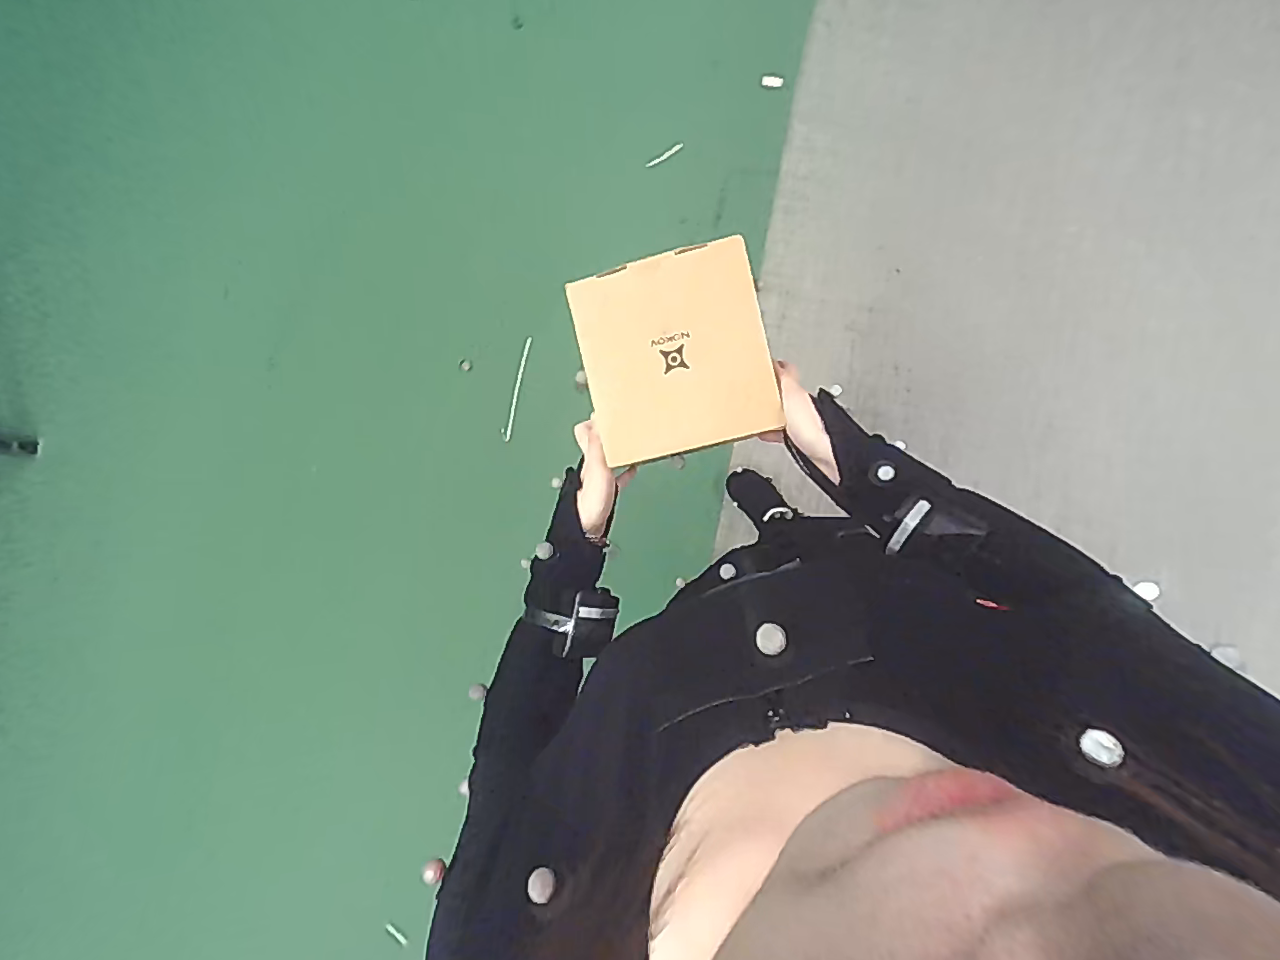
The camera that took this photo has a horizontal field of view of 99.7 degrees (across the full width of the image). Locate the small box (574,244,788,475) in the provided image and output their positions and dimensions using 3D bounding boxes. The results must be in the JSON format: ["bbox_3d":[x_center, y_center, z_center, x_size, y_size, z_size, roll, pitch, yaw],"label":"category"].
[{"bbox_3d":[0.047,-0.108,0.560,0.168,0.176,0.179,-13,90,8],"label":"small box"}]
